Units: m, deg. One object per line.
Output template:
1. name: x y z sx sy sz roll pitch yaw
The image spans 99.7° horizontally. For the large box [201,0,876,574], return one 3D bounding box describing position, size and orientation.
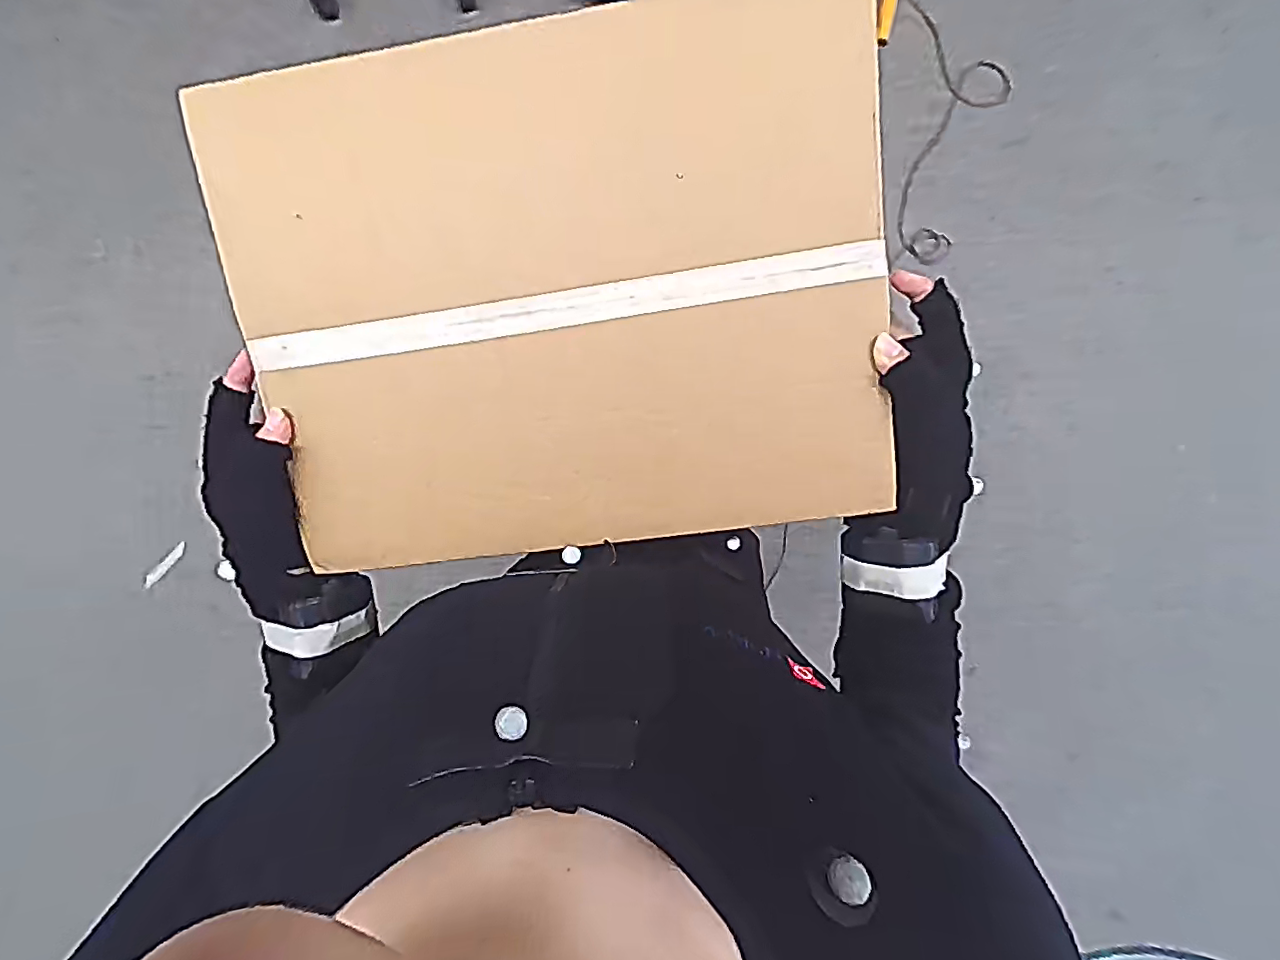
1. large box: -0.049 -0.139 0.496 0.408 0.320 0.320 -8 101 5
